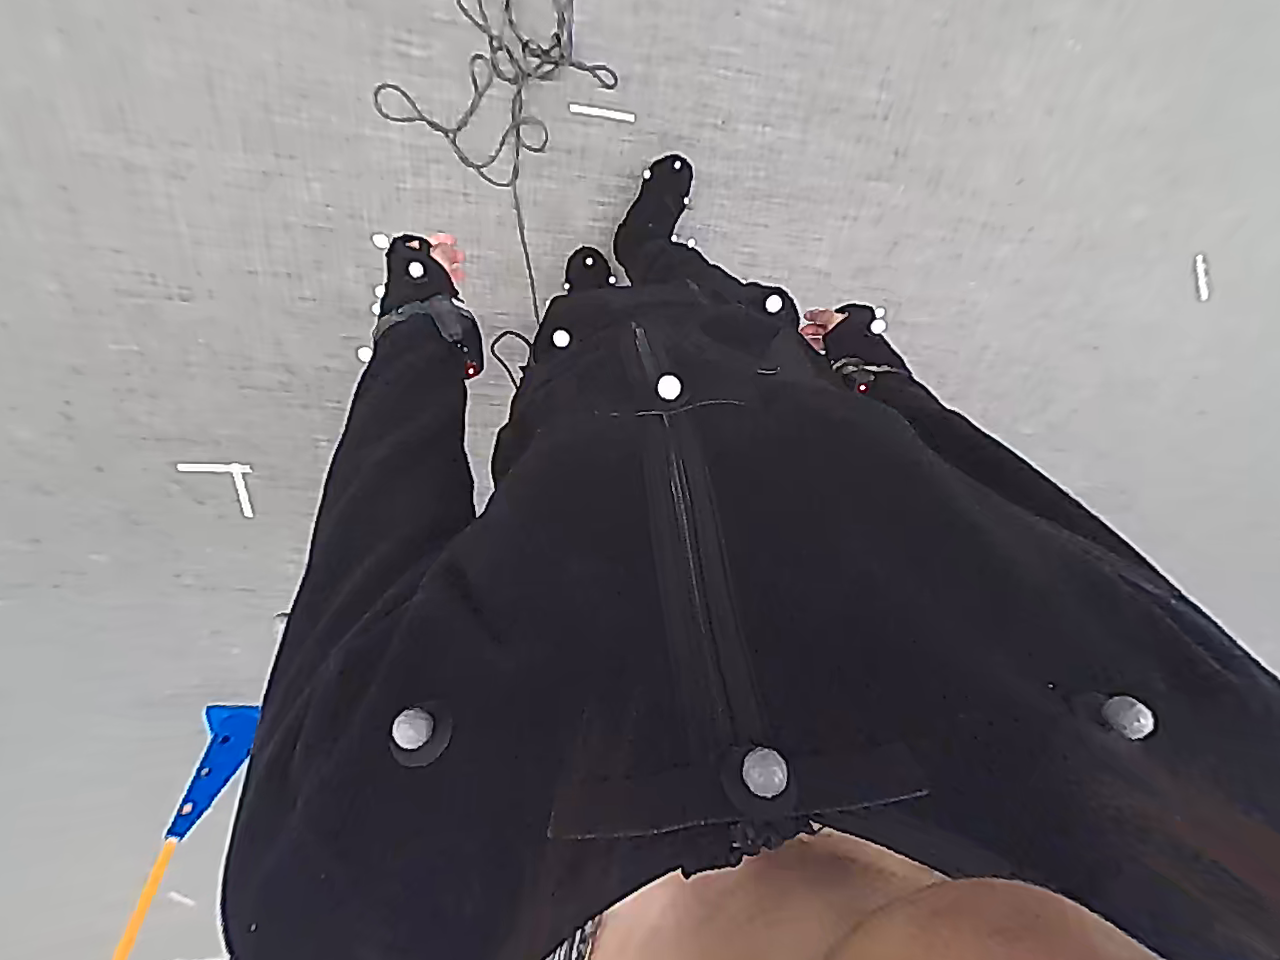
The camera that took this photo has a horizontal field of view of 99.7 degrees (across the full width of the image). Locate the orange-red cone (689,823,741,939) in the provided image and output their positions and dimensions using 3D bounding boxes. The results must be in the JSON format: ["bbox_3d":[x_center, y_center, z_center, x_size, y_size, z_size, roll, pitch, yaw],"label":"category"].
[{"bbox_3d":[0.335,1.604,2.148,0.198,0.360,0.199,7,116,-9],"label":"orange-red cone"}]

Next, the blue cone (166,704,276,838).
[{"bbox_3d":[-1.280,0.880,1.623,0.193,0.380,0.192,7,115,-10],"label":"blue cone"}]
